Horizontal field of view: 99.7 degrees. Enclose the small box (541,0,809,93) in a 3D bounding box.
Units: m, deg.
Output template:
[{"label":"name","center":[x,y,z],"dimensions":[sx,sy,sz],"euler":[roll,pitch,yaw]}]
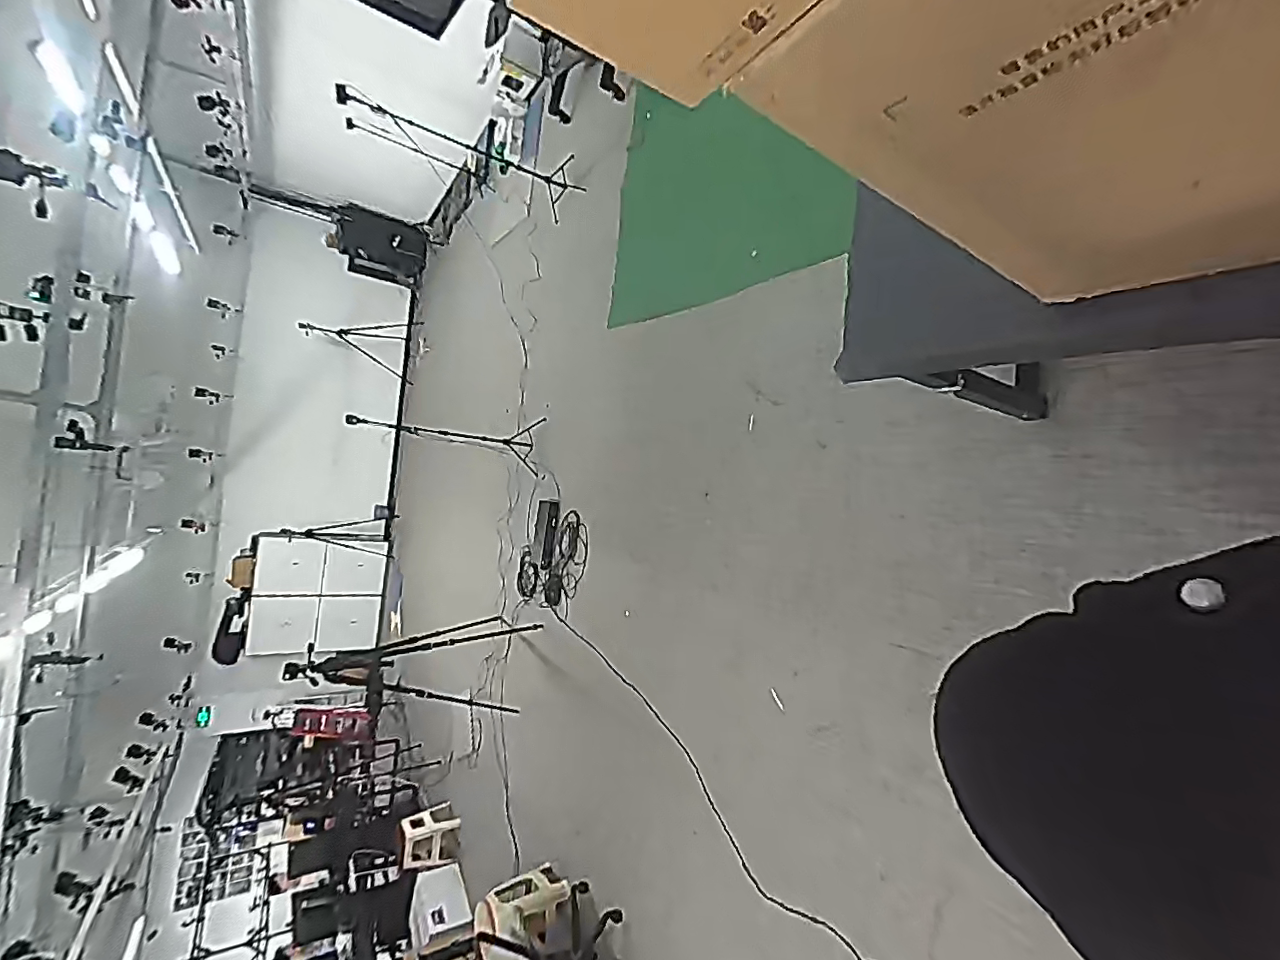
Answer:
[{"label":"small box","center":[0.026,-0.414,0.357],"dimensions":[0.168,0.176,0.179],"euler":[10,92,60]}]
